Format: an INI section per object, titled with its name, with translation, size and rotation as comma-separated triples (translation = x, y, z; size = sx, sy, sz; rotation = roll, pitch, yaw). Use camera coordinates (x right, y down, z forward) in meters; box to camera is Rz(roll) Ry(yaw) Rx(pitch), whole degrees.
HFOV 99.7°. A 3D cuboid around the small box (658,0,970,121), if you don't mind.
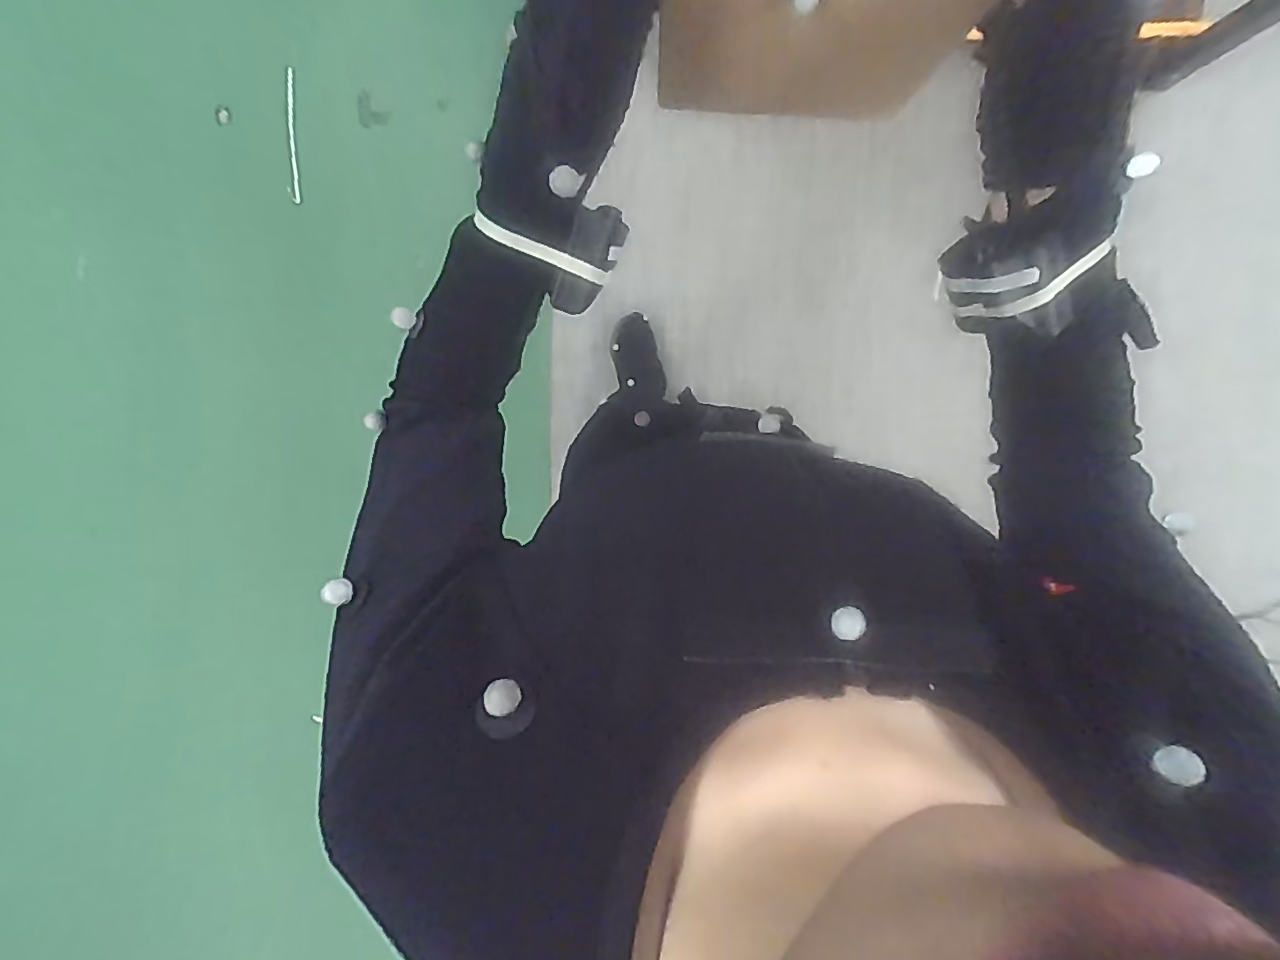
[small box]
translation = 0.101, -0.336, 0.308
size = 0.179, 0.176, 0.168
rotation = 3, 97, 0
